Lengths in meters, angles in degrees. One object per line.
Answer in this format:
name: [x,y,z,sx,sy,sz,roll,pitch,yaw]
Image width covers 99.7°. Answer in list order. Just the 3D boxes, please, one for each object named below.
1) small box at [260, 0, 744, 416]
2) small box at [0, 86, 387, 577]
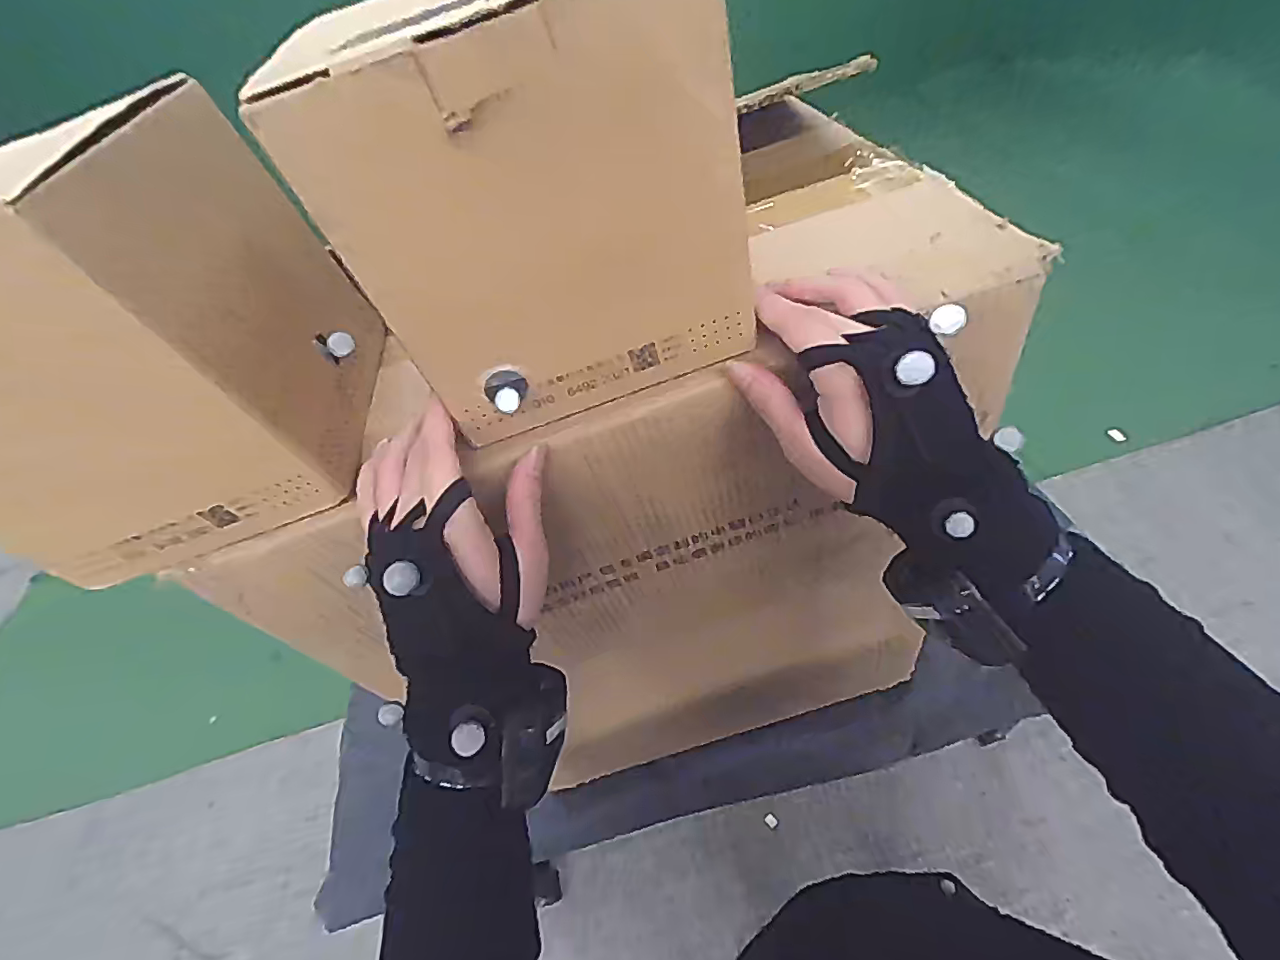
small box: [-0.051,-0.155,0.294,0.168,0.176,0.179,-18,48,1]
small box: [-0.269,-0.077,0.301,0.168,0.176,0.179,-19,48,6]
